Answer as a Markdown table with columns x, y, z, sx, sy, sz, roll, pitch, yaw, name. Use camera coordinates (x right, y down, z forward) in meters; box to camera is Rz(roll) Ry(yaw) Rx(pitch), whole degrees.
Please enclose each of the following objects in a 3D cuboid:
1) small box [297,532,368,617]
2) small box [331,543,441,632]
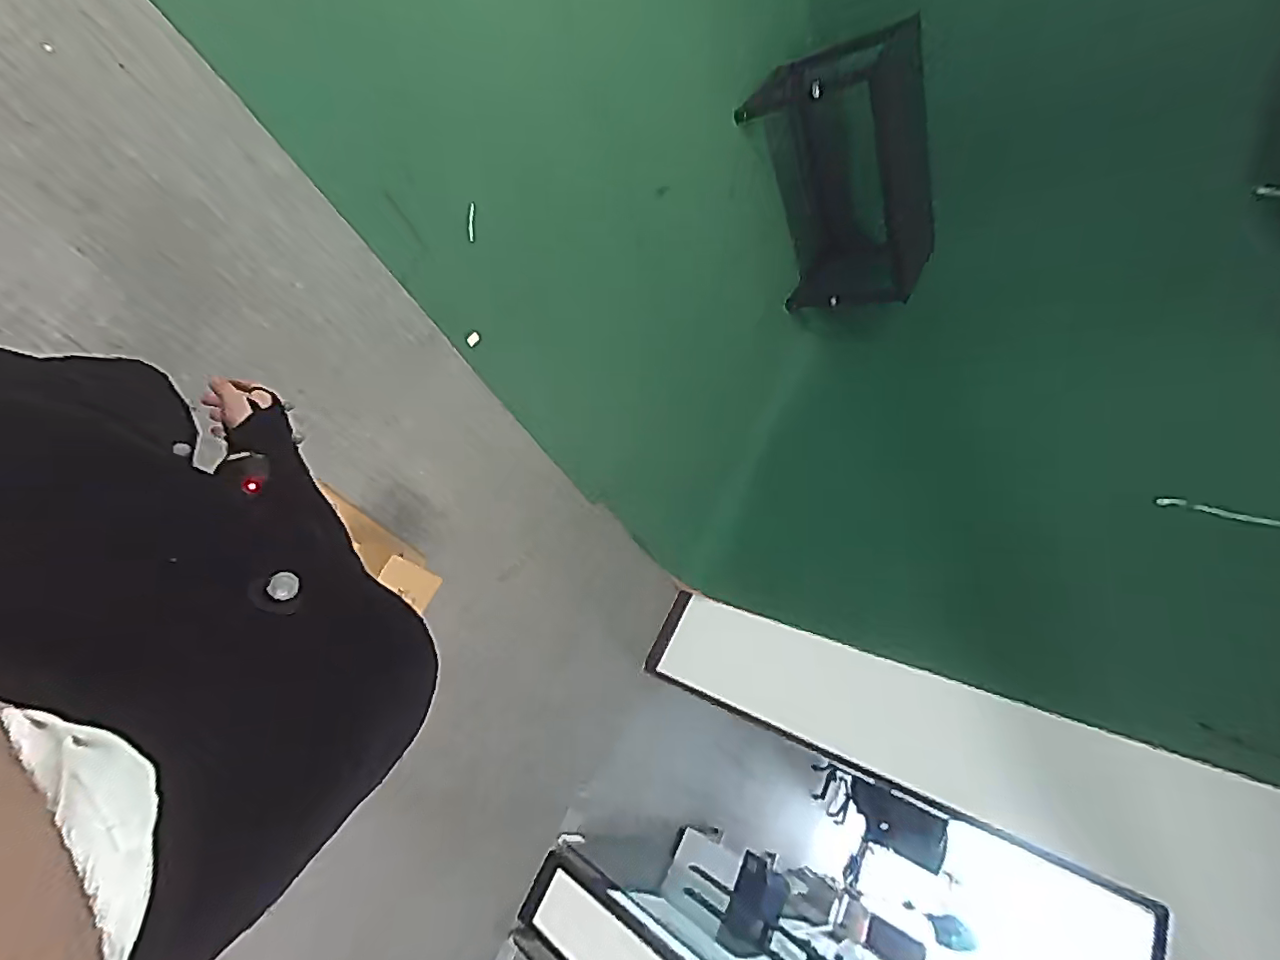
| x | y | z | sx | sy | sz | roll | pitch | yaw | name |
| --- | --- | --- | --- | --- | --- | --- | --- | --- | --- |
| -0.831 | 0.265 | 1.548 | 0.179 | 0.176 | 0.168 | 47 | 63 | -45 | small box |
| -0.689 | 0.284 | 1.462 | 0.179 | 0.176 | 0.168 | 49 | 63 | -45 | small box |
